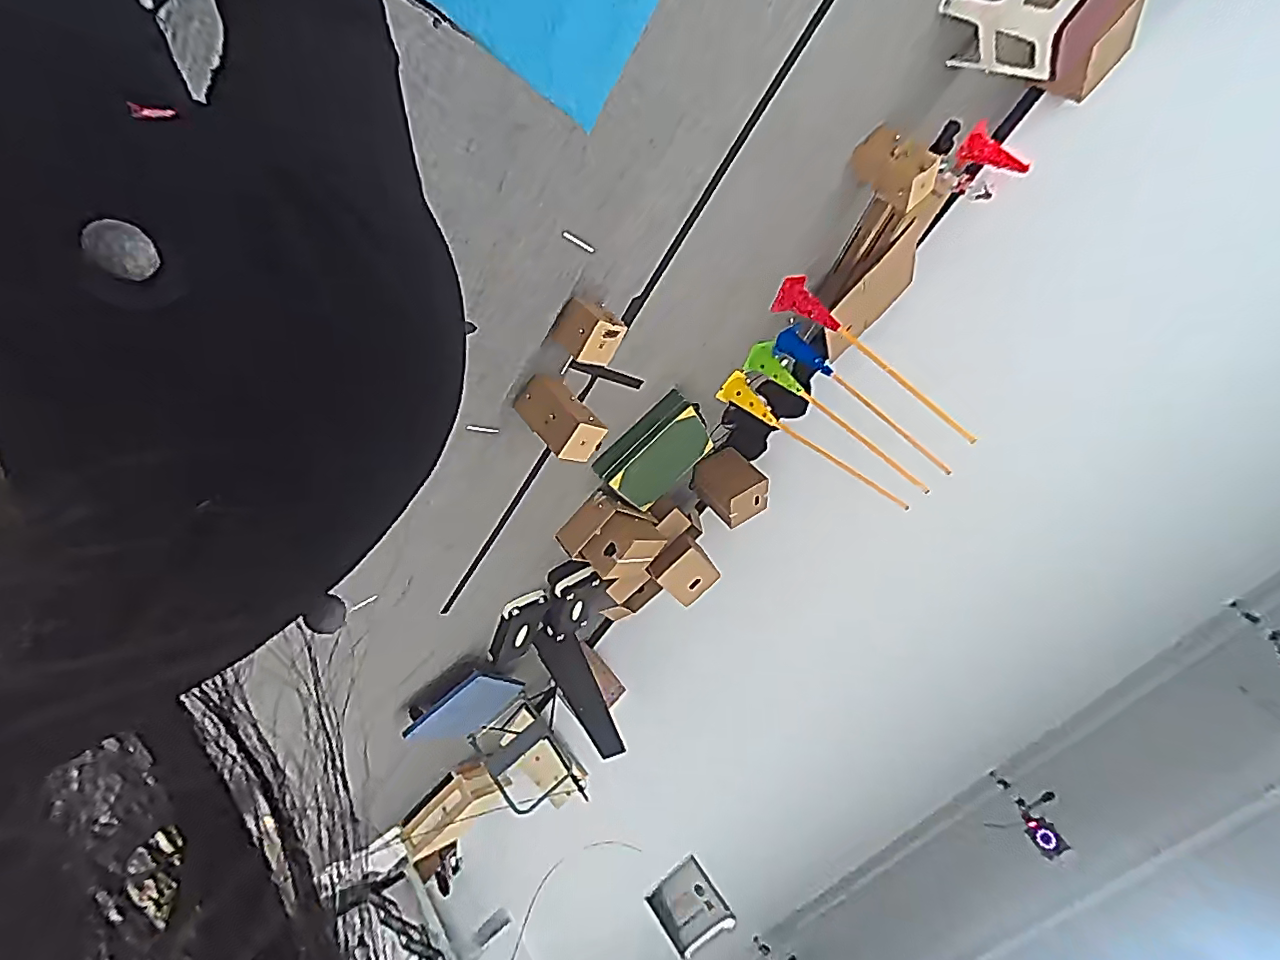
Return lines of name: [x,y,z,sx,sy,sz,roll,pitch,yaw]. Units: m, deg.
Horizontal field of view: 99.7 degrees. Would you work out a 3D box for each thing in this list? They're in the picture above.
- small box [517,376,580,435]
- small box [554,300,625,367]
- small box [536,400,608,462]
small box: [-0.370,-0.289,2.178,0.179,0.176,0.168,-51,154,18]
small box: [-0.194,-0.551,2.033,0.168,0.176,0.179,-4,135,-52]
small box: [-0.267,-0.190,2.100,0.168,0.176,0.179,-54,151,17]
